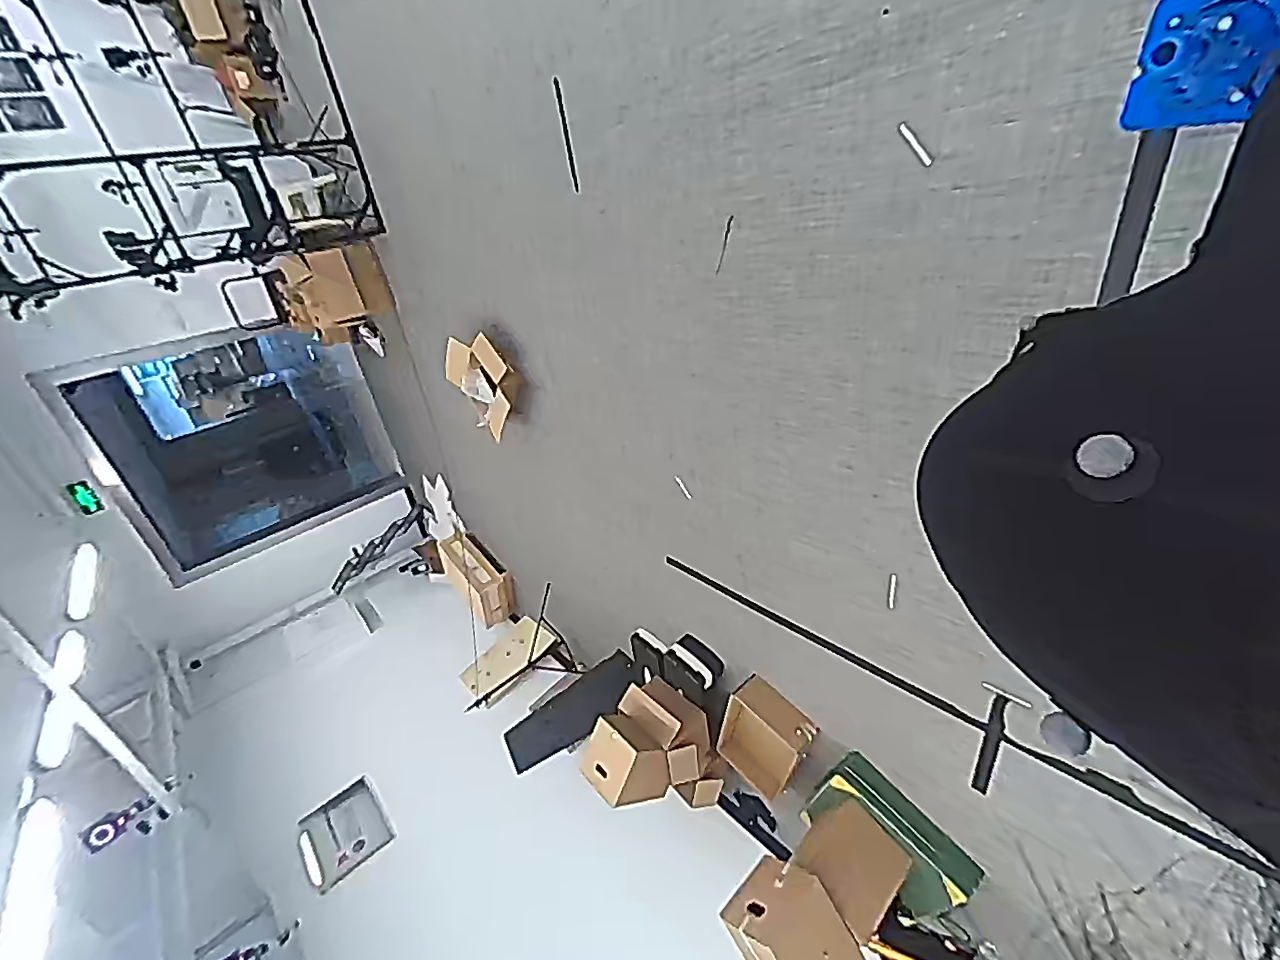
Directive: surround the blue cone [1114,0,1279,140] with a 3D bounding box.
[{"bbox_3d":[0.817,-0.625,0.817,0.193,0.380,0.192,25,132,42],"label":"blue cone"}]
